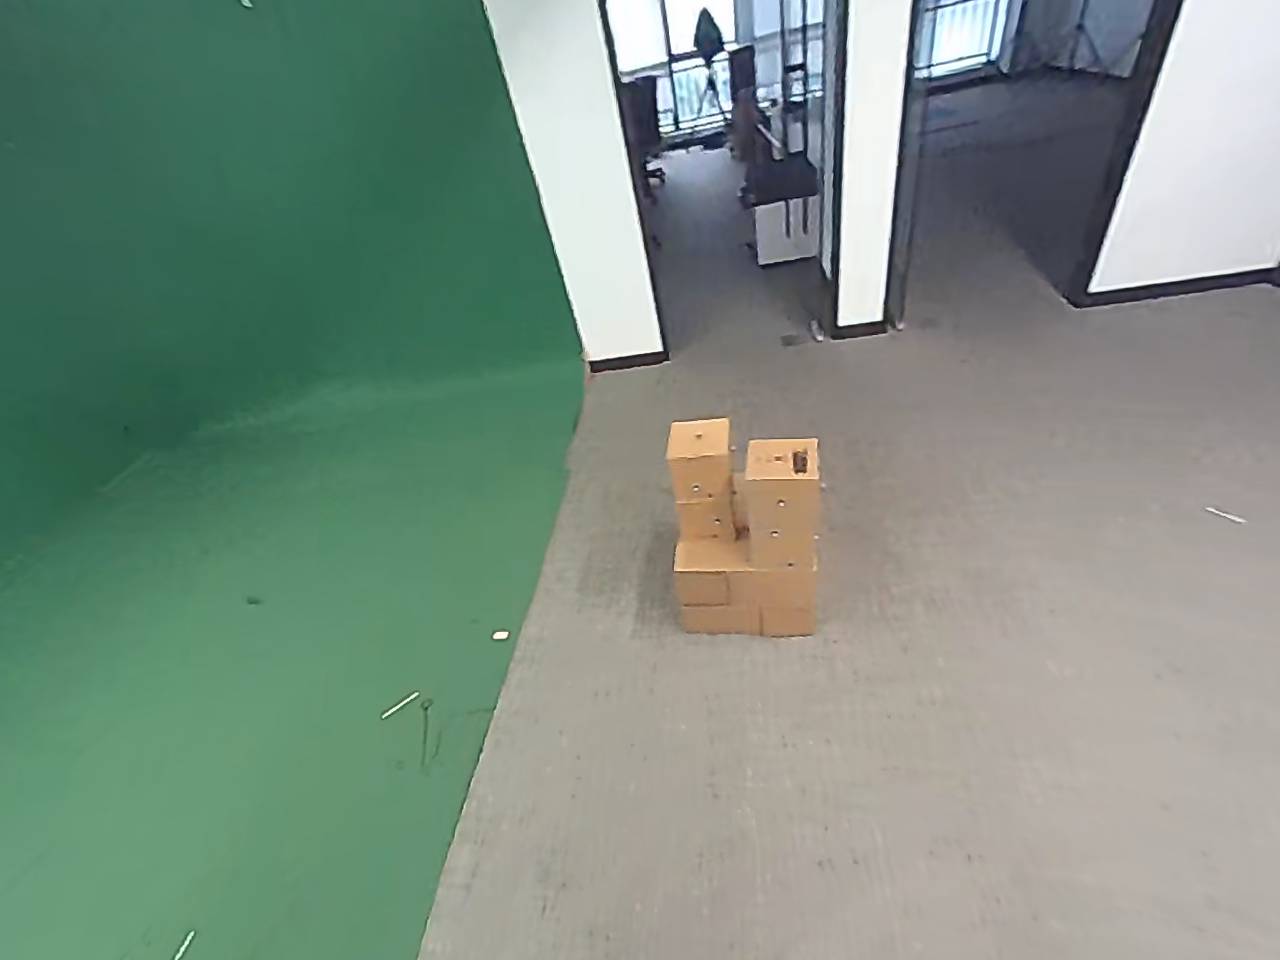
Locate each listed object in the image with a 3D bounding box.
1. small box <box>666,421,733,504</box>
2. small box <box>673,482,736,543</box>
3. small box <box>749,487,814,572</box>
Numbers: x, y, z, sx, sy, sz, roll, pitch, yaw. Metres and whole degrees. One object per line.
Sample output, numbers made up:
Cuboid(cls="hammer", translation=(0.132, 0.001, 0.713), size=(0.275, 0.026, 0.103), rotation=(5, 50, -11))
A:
Cuboid(cls="small box", translation=(0.177, -0.049, 1.558), size=(0.168, 0.176, 0.179), rotation=(-3, 40, 15))
Cuboid(cls="small box", translation=(0.203, 0.080, 1.655), size=(0.168, 0.176, 0.179), rotation=(-3, 38, 15))
Cuboid(cls="small box", translation=(0.397, 0.136, 1.517), size=(0.168, 0.176, 0.179), rotation=(-2, 38, 16))
